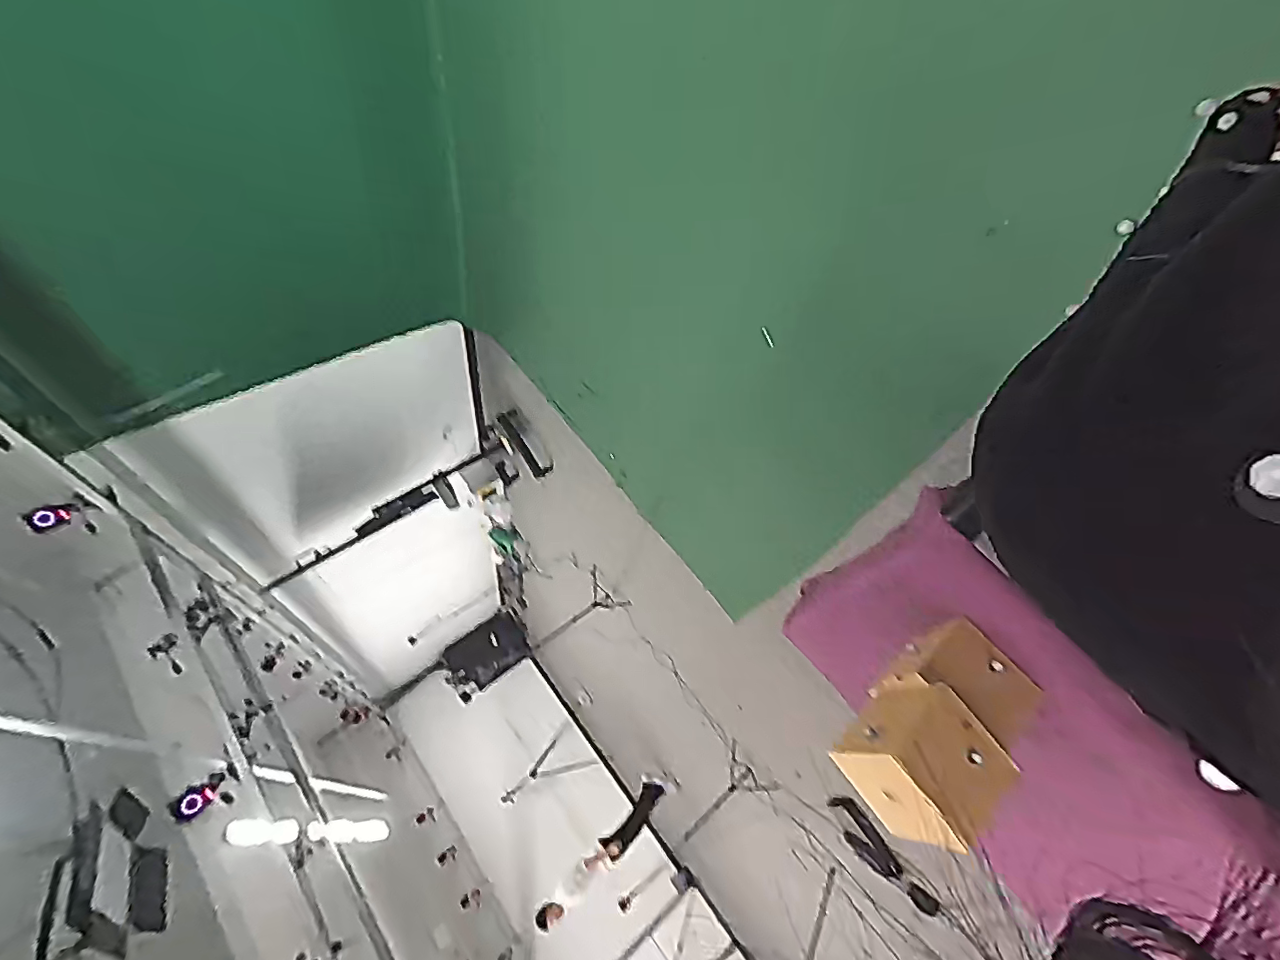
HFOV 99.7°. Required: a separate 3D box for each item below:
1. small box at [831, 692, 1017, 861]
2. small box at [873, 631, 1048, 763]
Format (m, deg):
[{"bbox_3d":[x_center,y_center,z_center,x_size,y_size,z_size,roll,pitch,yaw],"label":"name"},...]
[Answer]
[{"bbox_3d":[0.462,0.472,0.888,0.168,0.176,0.179,53,152,12],"label":"small box"},{"bbox_3d":[0.576,0.397,0.981,0.179,0.176,0.168,49,153,19],"label":"small box"}]
